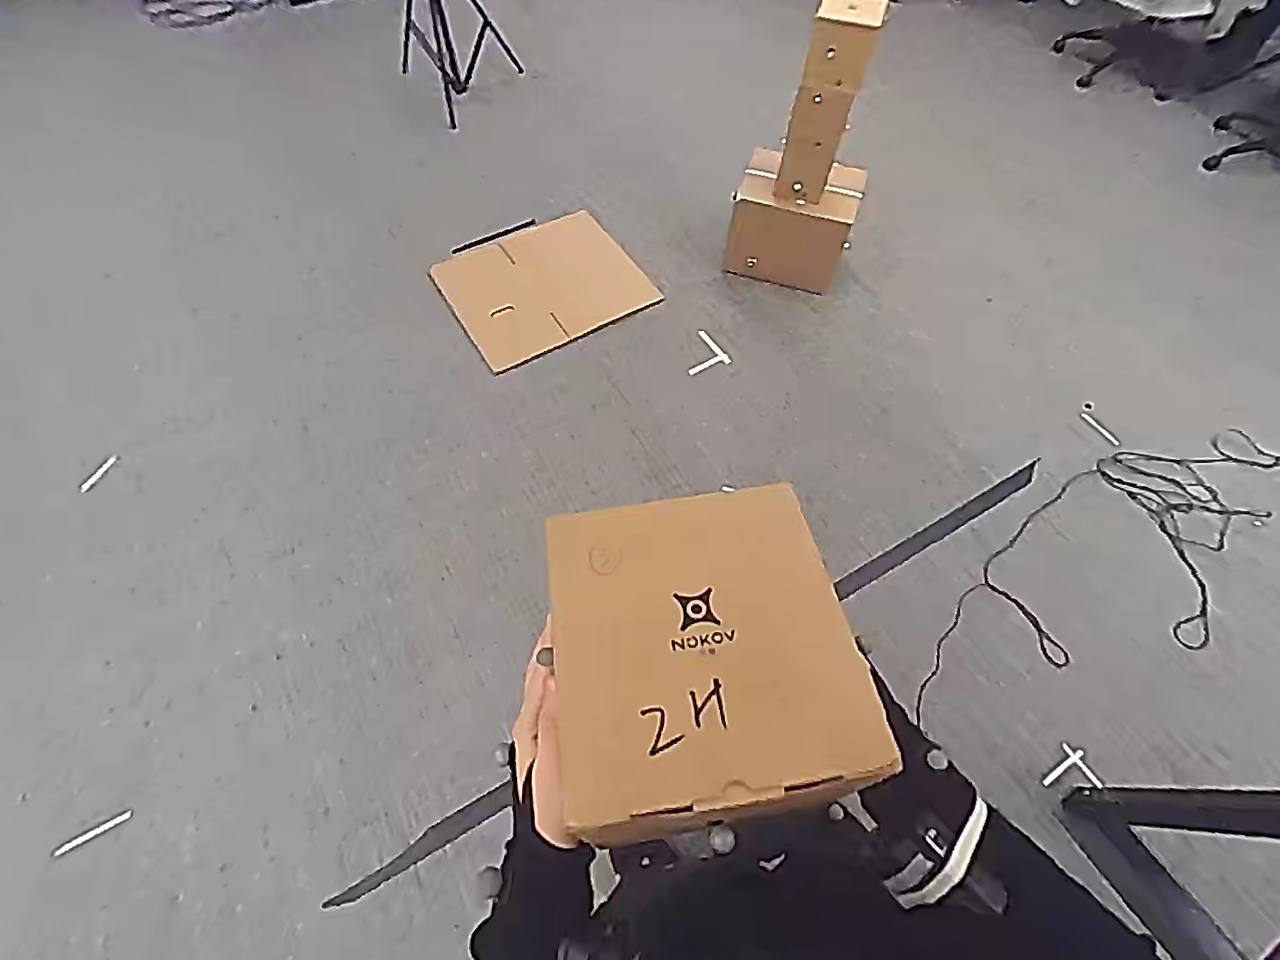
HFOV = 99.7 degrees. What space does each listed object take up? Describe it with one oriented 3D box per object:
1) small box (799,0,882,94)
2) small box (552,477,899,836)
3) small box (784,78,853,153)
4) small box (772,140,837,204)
[{"bbox_3d":[0.553,-1.214,1.506,0.168,0.176,0.179,16,62,8],"label":"small box"},{"bbox_3d":[0.036,0.124,0.370,0.168,0.176,0.179,-8,54,-3],"label":"small box"},{"bbox_3d":[0.549,-1.139,1.650,0.168,0.176,0.179,16,62,9],"label":"small box"},{"bbox_3d":[0.546,-1.058,1.793,0.168,0.176,0.179,16,63,8],"label":"small box"}]
